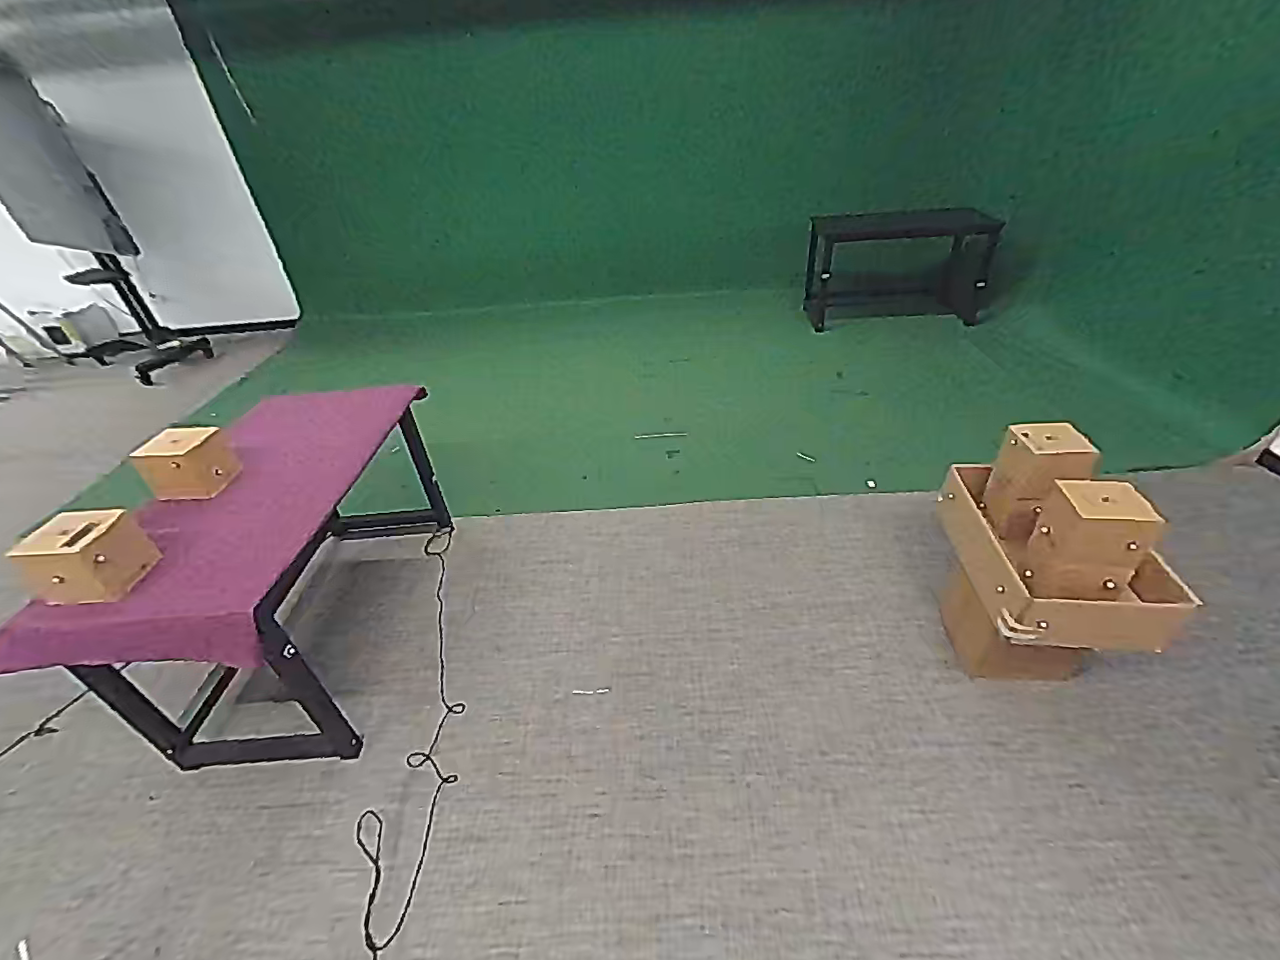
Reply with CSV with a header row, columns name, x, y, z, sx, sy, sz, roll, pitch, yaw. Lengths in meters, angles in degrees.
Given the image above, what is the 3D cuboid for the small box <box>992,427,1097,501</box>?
name,x,y,z,sx,sy,sz,roll,pitch,yaw
small box,1.223,-0.048,1.649,0.179,0.176,0.168,0,35,5

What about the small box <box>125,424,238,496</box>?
name,x,y,z,sx,sy,sz,roll,pitch,yaw
small box,-1.424,-0.060,1.694,0.179,0.176,0.168,-1,36,1

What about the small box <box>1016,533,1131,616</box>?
name,x,y,z,sx,sy,sz,roll,pitch,yaw
small box,1.196,0.258,1.508,0.179,0.176,0.168,4,36,11

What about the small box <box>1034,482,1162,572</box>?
name,x,y,z,sx,sy,sz,roll,pitch,yaw
small box,1.185,0.124,1.417,0.179,0.176,0.168,3,36,10
